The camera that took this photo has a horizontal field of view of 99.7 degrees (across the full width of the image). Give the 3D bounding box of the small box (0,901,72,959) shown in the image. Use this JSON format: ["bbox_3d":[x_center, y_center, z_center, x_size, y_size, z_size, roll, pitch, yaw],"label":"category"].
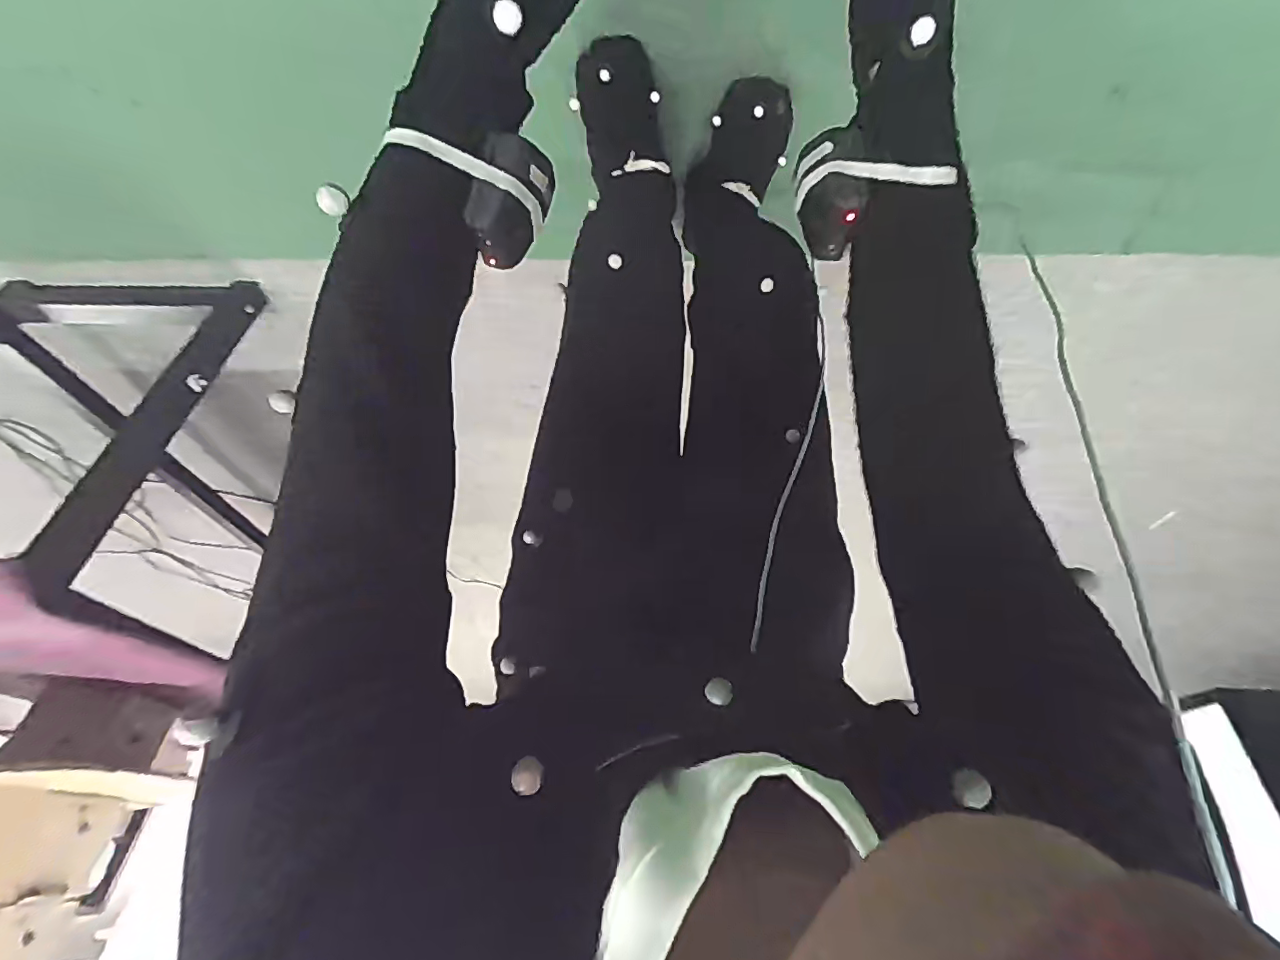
[{"bbox_3d":[-1.161,0.811,0.922,0.179,0.176,0.168,4,145,3],"label":"small box"}]

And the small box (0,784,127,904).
[{"bbox_3d":[-1.147,0.678,1.015,0.179,0.176,0.168,4,145,3],"label":"small box"}]
